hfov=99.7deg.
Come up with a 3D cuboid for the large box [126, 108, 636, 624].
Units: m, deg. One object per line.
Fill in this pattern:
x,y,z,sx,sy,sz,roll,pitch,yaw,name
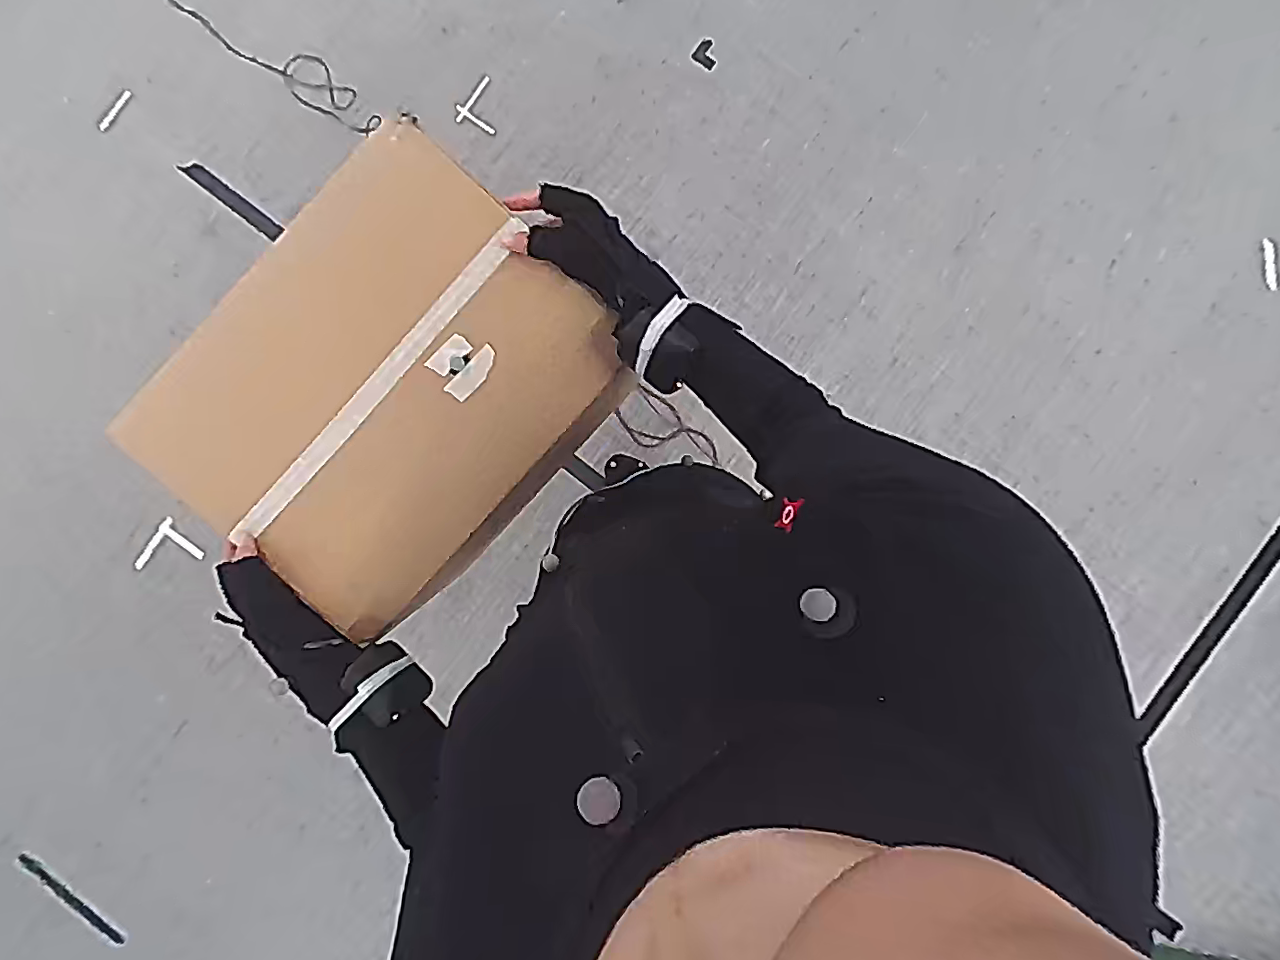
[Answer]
-0.253,-0.109,0.665,0.320,0.320,0.408,42,90,-5,large box
